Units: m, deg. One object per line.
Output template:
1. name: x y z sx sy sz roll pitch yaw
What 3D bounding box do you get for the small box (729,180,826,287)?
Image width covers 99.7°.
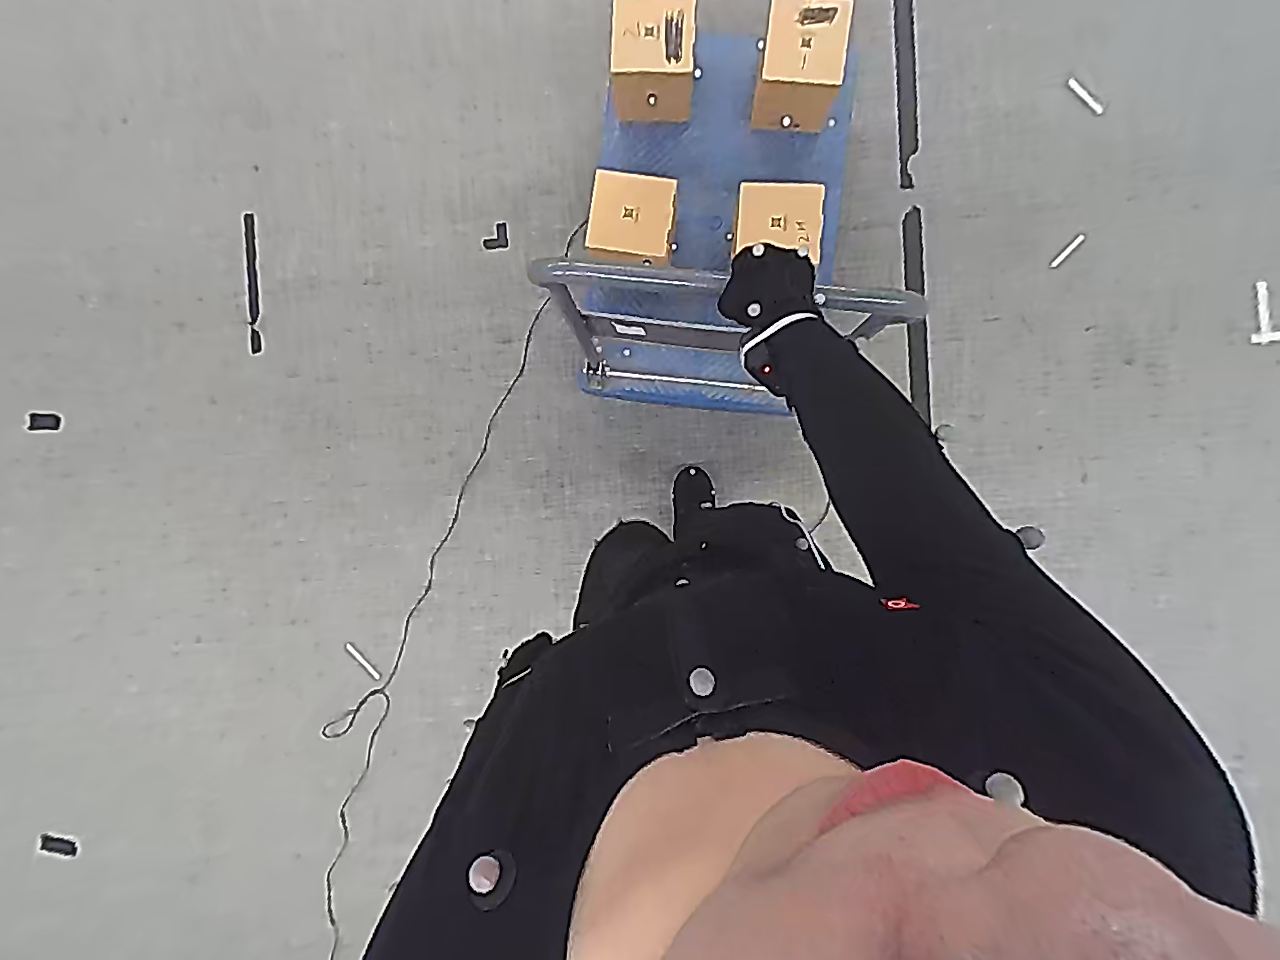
1. small box: 0.295 -0.537 1.196 0.179 0.176 0.168 4 92 4

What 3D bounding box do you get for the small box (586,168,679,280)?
1. small box: -0.013 -0.566 1.215 0.179 0.176 0.168 9 92 2

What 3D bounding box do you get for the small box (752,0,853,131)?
1. small box: 0.346 -0.908 1.180 0.168 0.176 0.179 7 93 3
